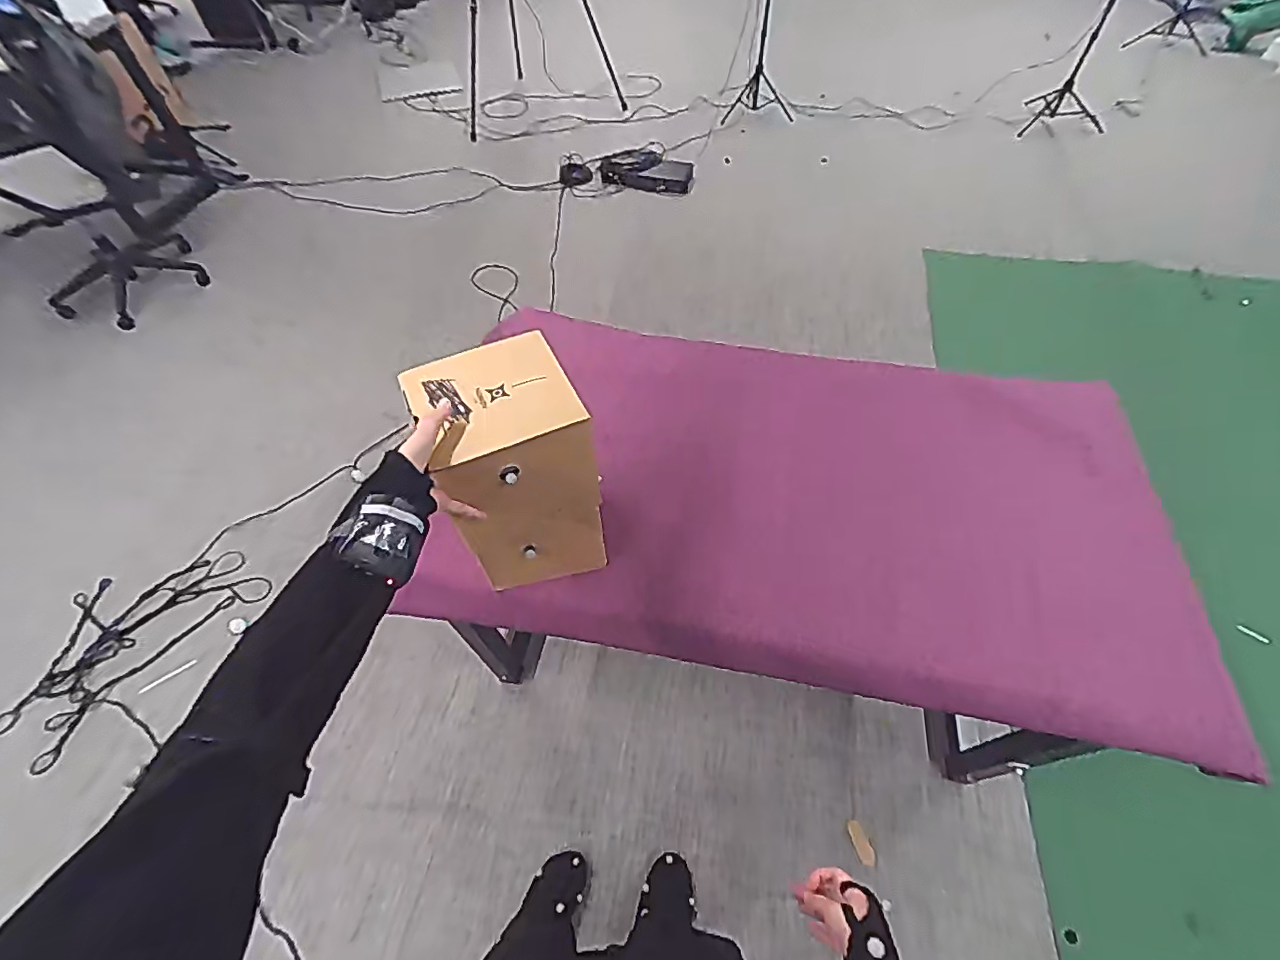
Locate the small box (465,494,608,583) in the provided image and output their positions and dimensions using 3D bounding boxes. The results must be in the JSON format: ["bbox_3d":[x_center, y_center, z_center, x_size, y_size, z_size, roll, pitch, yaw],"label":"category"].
[{"bbox_3d":[-0.152,0.036,0.805,0.179,0.176,0.168,-12,55,-7],"label":"small box"}]

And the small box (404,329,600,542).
[{"bbox_3d":[-0.160,-0.050,0.664,0.179,0.176,0.168,-21,56,-14],"label":"small box"}]
